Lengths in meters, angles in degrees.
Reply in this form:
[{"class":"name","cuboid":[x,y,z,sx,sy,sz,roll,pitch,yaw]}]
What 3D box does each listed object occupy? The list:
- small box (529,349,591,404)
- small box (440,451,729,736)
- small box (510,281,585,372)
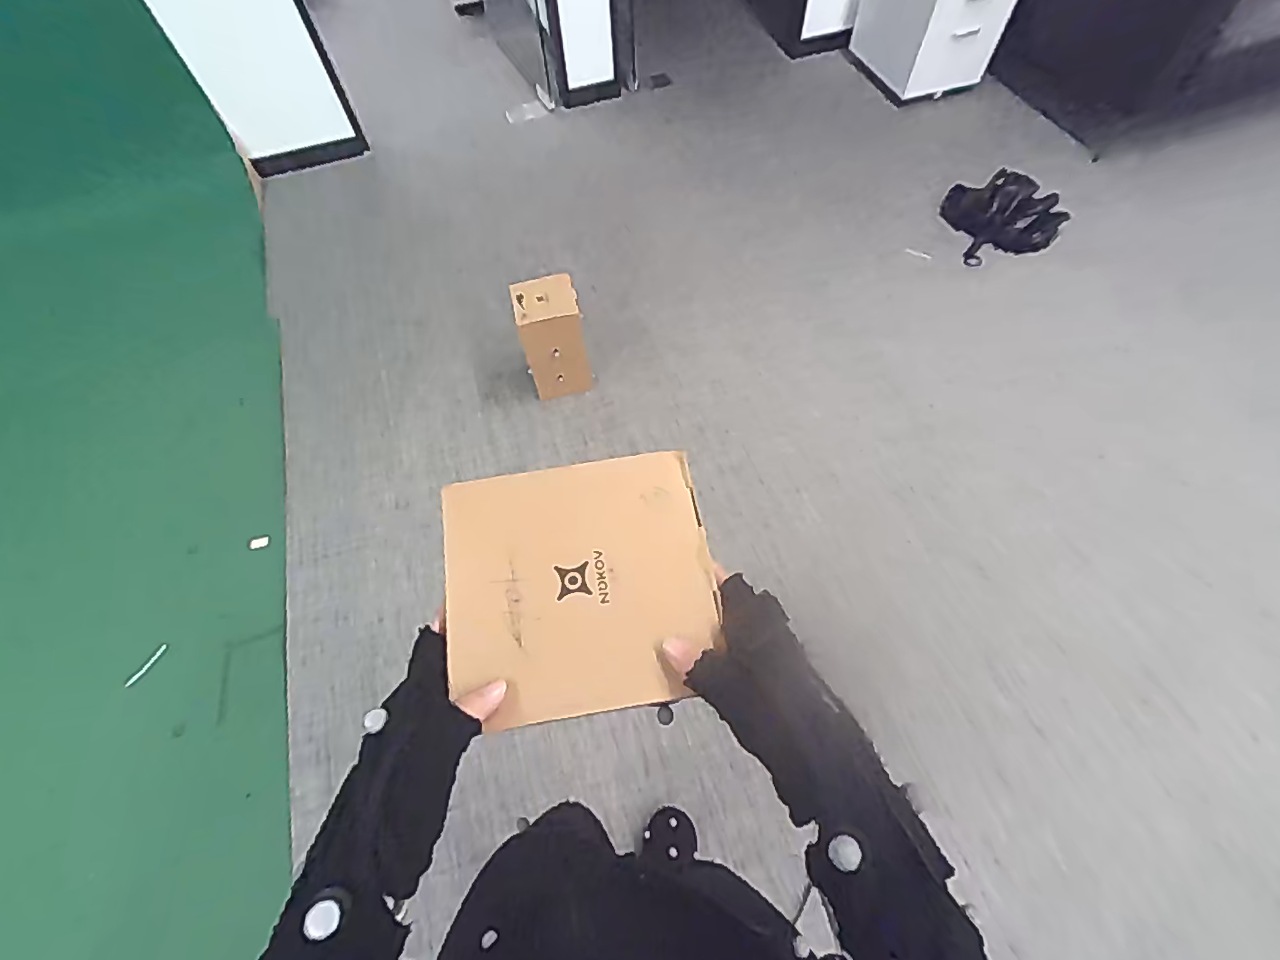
[{"class":"small box","cuboid":[-0.258,-0.366,1.719,0.179,0.176,0.168,-14,61,-4]},{"class":"small box","cuboid":[-0.042,0.097,0.434,0.179,0.176,0.168,-11,67,-3]},{"class":"small box","cuboid":[-0.265,-0.443,1.578,0.179,0.176,0.168,-16,63,-5]}]
